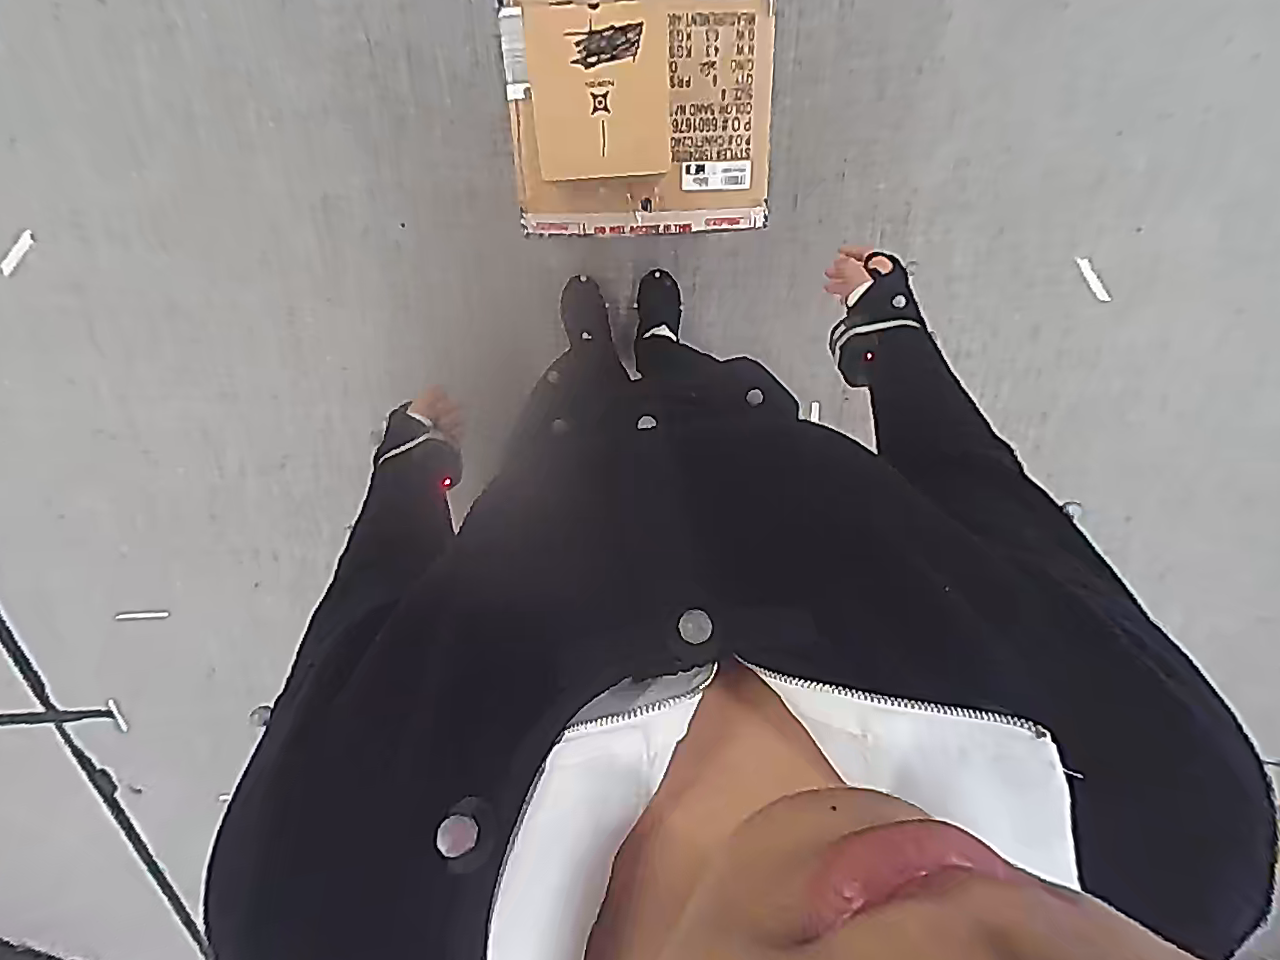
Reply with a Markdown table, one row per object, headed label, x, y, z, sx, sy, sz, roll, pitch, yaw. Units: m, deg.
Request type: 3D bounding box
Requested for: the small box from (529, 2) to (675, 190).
| label | x | y | z | sx | sy | sz | roll | pitch | yaw |
| --- | --- | --- | --- | --- | --- | --- | --- | --- | --- |
| small box | -0.045 | -0.491 | 0.717 | 0.168 | 0.176 | 0.179 | -4 | 117 | 0 |
